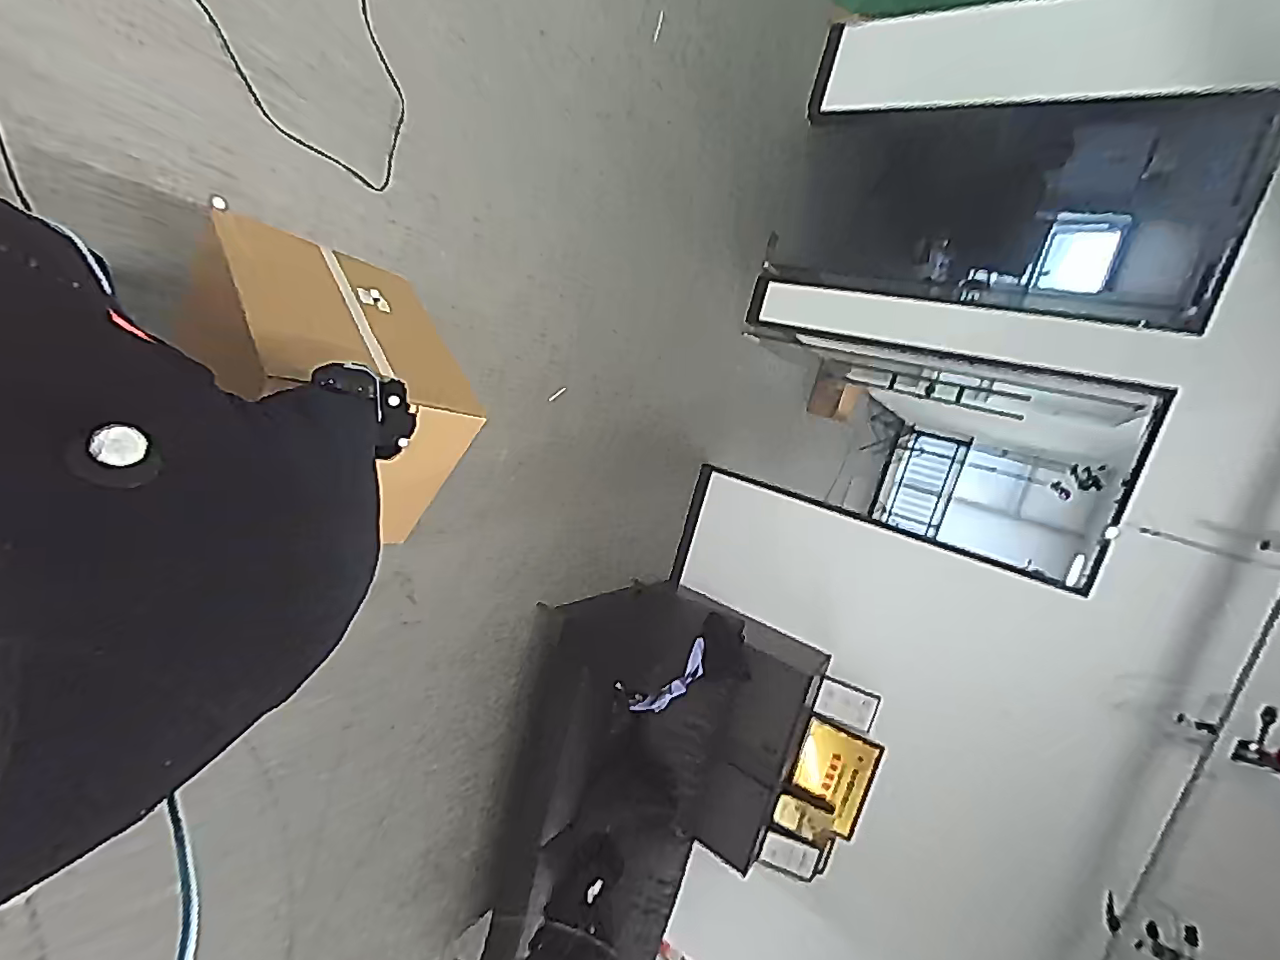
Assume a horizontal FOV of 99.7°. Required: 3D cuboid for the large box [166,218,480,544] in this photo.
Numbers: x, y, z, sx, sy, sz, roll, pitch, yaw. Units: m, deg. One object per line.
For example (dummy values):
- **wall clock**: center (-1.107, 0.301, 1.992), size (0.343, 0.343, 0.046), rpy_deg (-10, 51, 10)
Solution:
- **large box**: center (-0.542, -0.144, 0.909), size (0.320, 0.408, 0.320), rpy_deg (-49, 150, 22)
